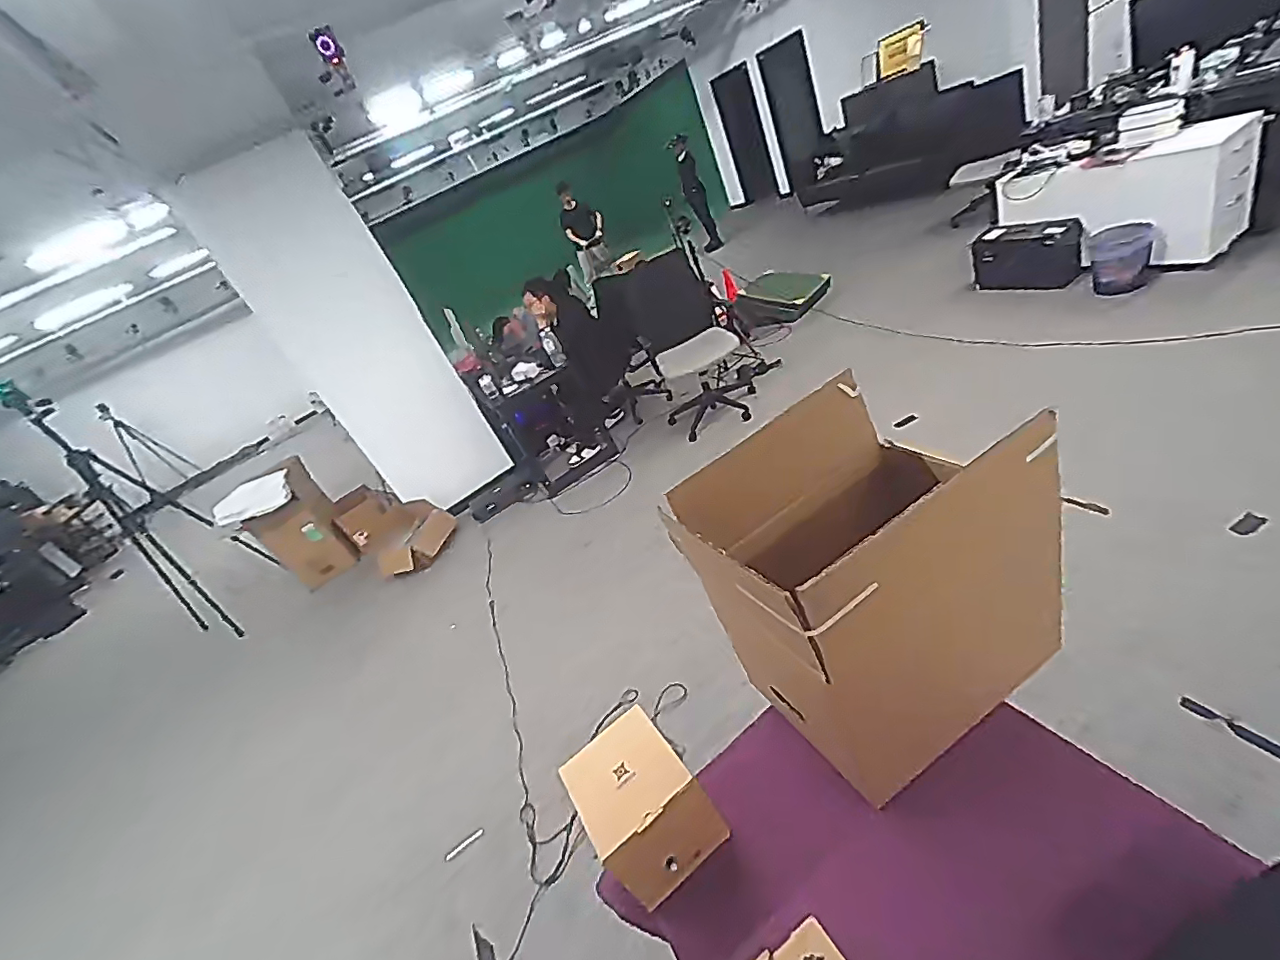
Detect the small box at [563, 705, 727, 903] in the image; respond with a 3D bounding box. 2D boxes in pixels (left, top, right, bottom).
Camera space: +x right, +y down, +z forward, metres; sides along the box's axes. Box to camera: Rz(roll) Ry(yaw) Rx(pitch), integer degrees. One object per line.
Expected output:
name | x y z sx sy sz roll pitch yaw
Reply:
small box | 0.008 0.509 0.857 0.168 0.176 0.179 -35 31 -15
